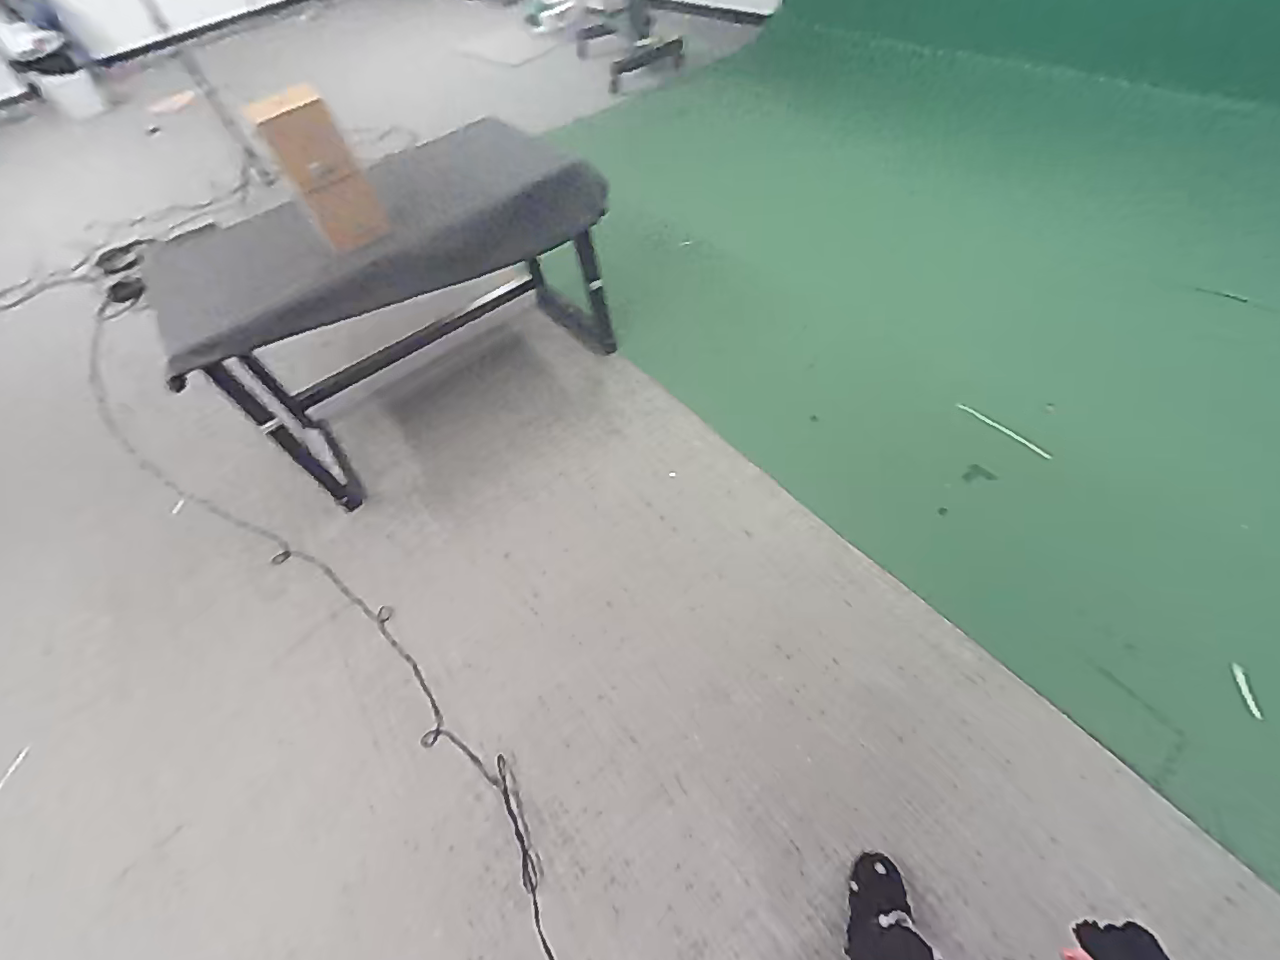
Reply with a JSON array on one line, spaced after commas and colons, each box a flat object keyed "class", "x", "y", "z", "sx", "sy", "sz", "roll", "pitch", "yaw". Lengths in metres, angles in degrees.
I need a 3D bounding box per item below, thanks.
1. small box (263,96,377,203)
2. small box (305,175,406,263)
[{"class": "small box", "x": -0.803, "y": -0.832, "z": 1.366, "sx": 0.168, "sy": 0.176, "sz": 0.179, "roll": -36, "pitch": 55, "yaw": -14}, {"class": "small box", "x": -0.776, "y": -0.735, "z": 1.494, "sx": 0.179, "sy": 0.176, "sz": 0.168, "roll": -34, "pitch": 54, "yaw": -15}]
